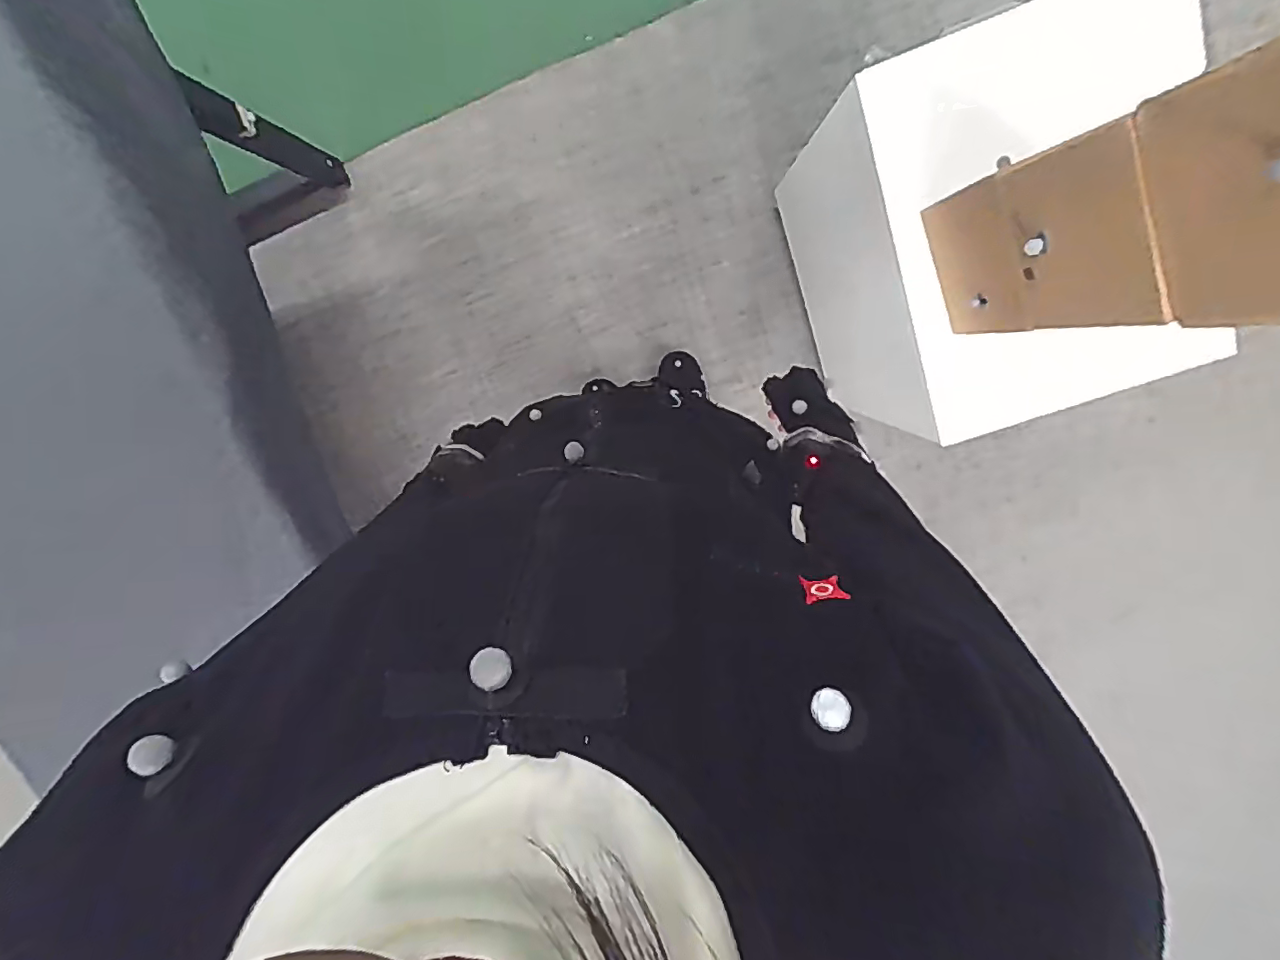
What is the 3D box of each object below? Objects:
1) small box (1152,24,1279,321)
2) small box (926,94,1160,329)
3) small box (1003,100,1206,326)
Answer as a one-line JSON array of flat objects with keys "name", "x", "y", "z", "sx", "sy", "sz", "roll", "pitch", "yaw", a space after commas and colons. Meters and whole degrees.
[{"name": "small box", "x": 0.459, "y": -0.207, "z": 0.313, "sx": 0.168, "sy": 0.176, "sz": 0.179, "roll": -23, "pitch": 102, "yaw": 9}, {"name": "small box", "x": 0.470, "y": -0.290, "z": 0.630, "sx": 0.168, "sy": 0.176, "sz": 0.179, "roll": -22, "pitch": 101, "yaw": 8}, {"name": "small box", "x": 0.470, "y": -0.247, "z": 0.472, "sx": 0.179, "sy": 0.176, "sz": 0.168, "roll": -24, "pitch": 102, "yaw": 7}]
